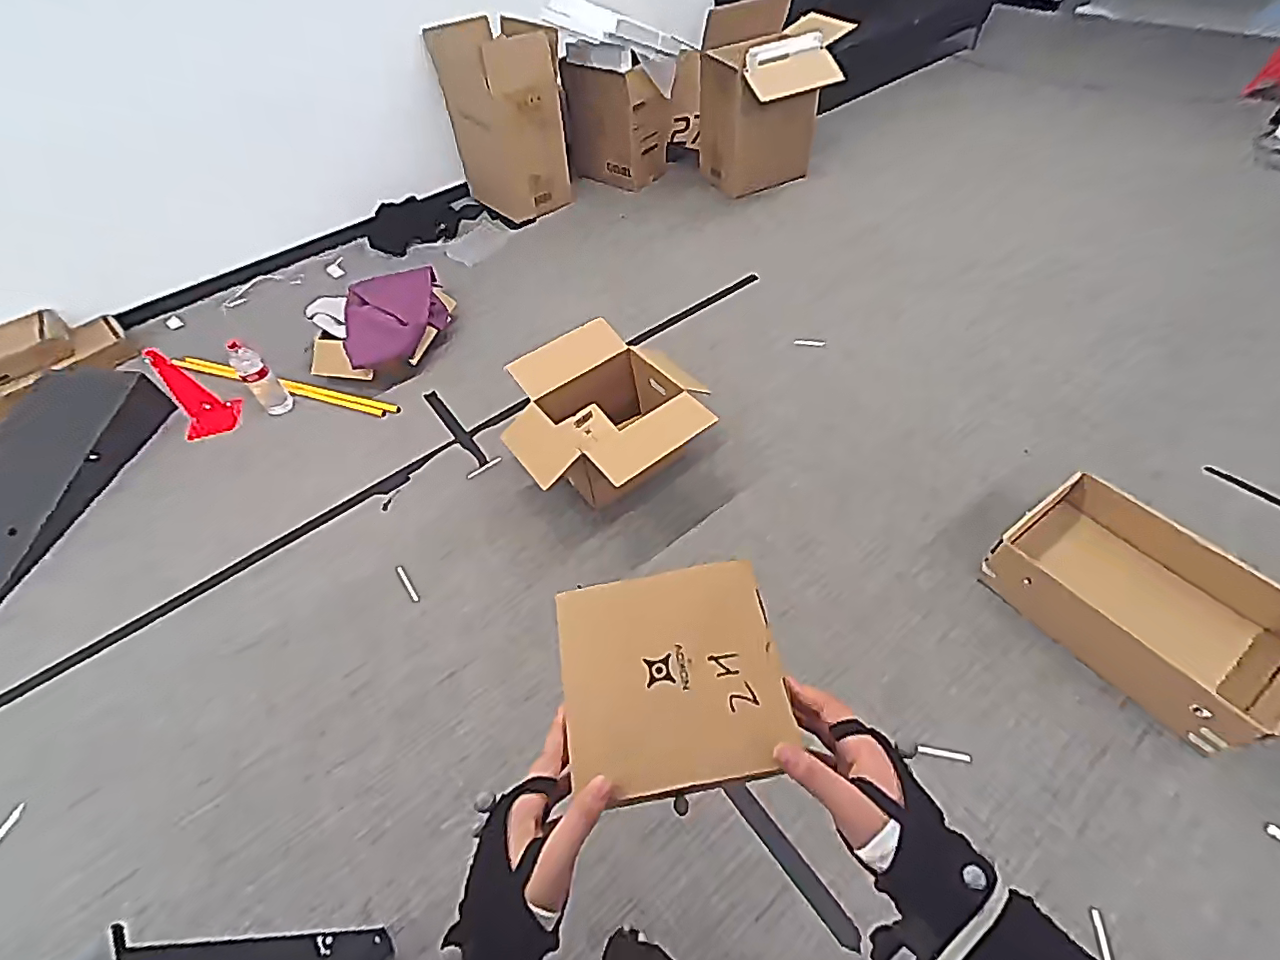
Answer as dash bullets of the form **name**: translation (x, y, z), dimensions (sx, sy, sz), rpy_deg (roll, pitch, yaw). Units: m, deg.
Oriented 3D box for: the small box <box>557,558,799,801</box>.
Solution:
- **small box**: translation (0.030, 0.194, 0.509), dimensions (0.179, 0.176, 0.168), rpy_deg (-11, 59, -1)
